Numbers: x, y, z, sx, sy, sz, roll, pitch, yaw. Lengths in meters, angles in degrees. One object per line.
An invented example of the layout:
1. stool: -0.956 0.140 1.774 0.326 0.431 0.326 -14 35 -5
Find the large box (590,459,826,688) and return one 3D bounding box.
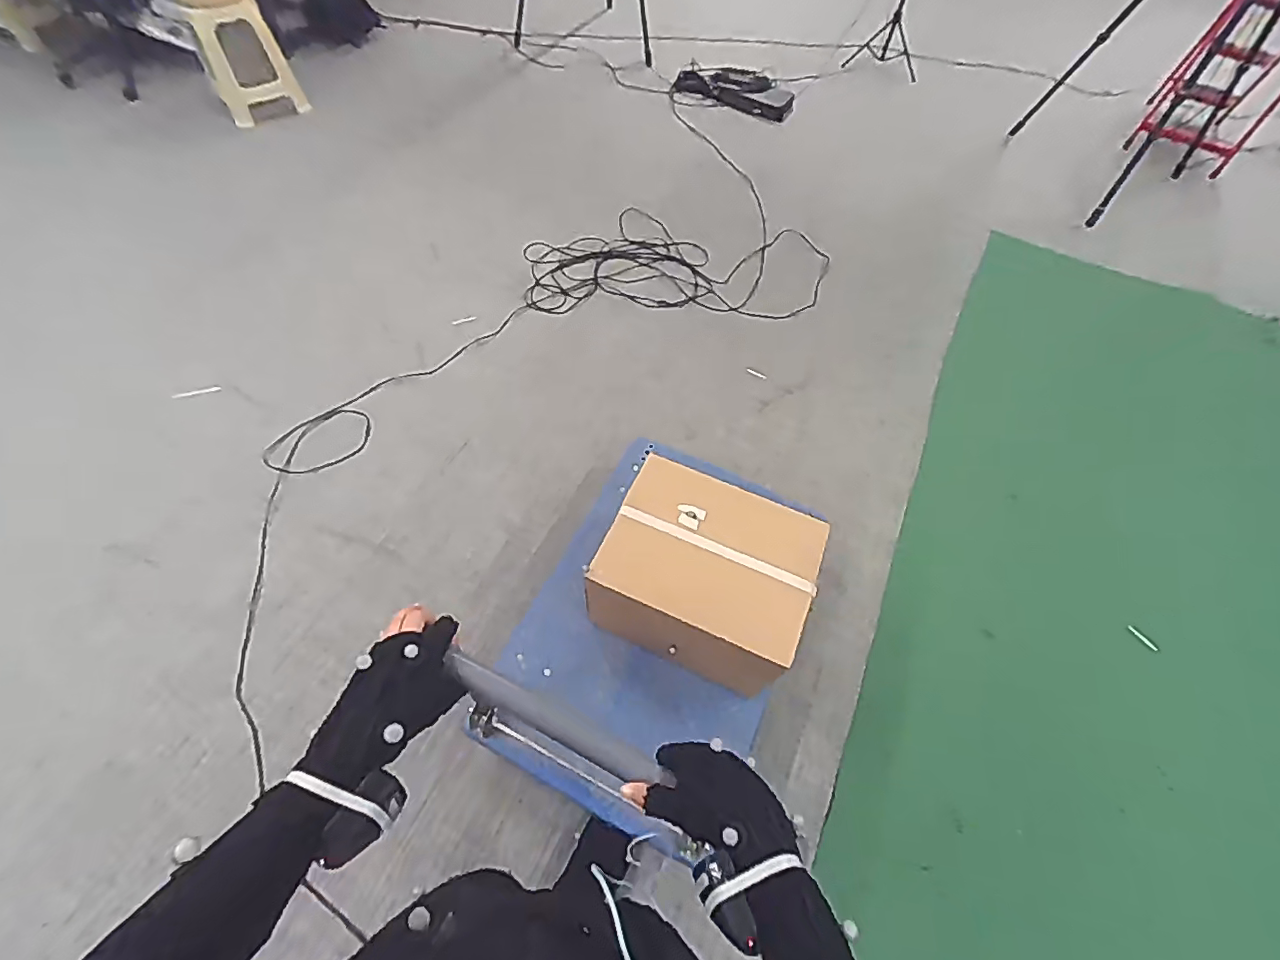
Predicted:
1. large box: 0.142 0.214 1.196 0.408 0.320 0.320 21 60 11
